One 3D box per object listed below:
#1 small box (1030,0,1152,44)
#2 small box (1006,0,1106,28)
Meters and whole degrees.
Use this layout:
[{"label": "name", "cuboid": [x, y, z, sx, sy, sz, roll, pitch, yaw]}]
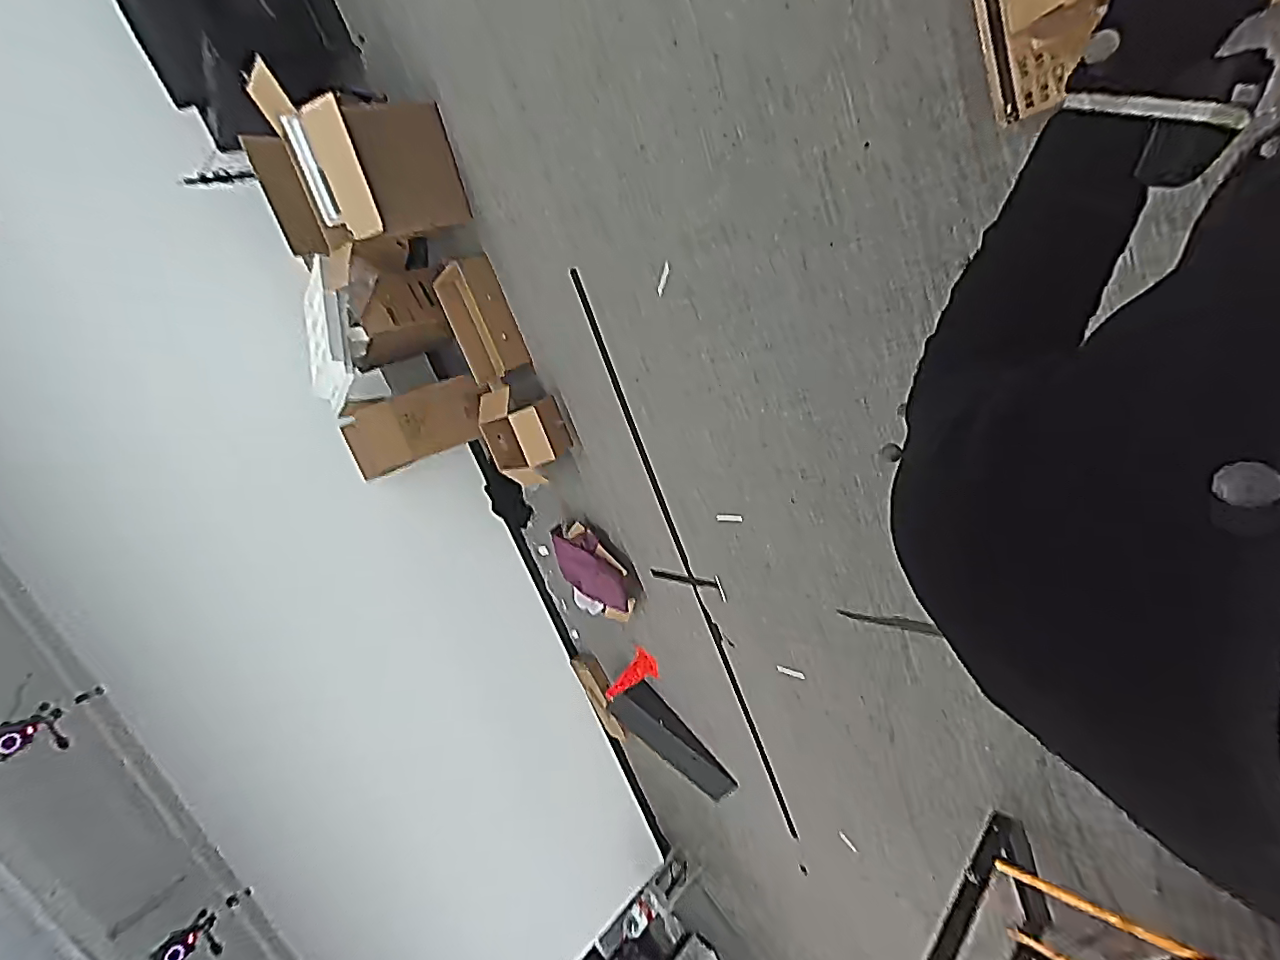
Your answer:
[{"label": "small box", "cuboid": [0.708, -0.810, 0.827, 0.168, 0.176, 0.179, -4, 113, 53]}, {"label": "small box", "cuboid": [0.599, -0.747, 0.719, 0.168, 0.176, 0.179, -1, 114, 53]}]
